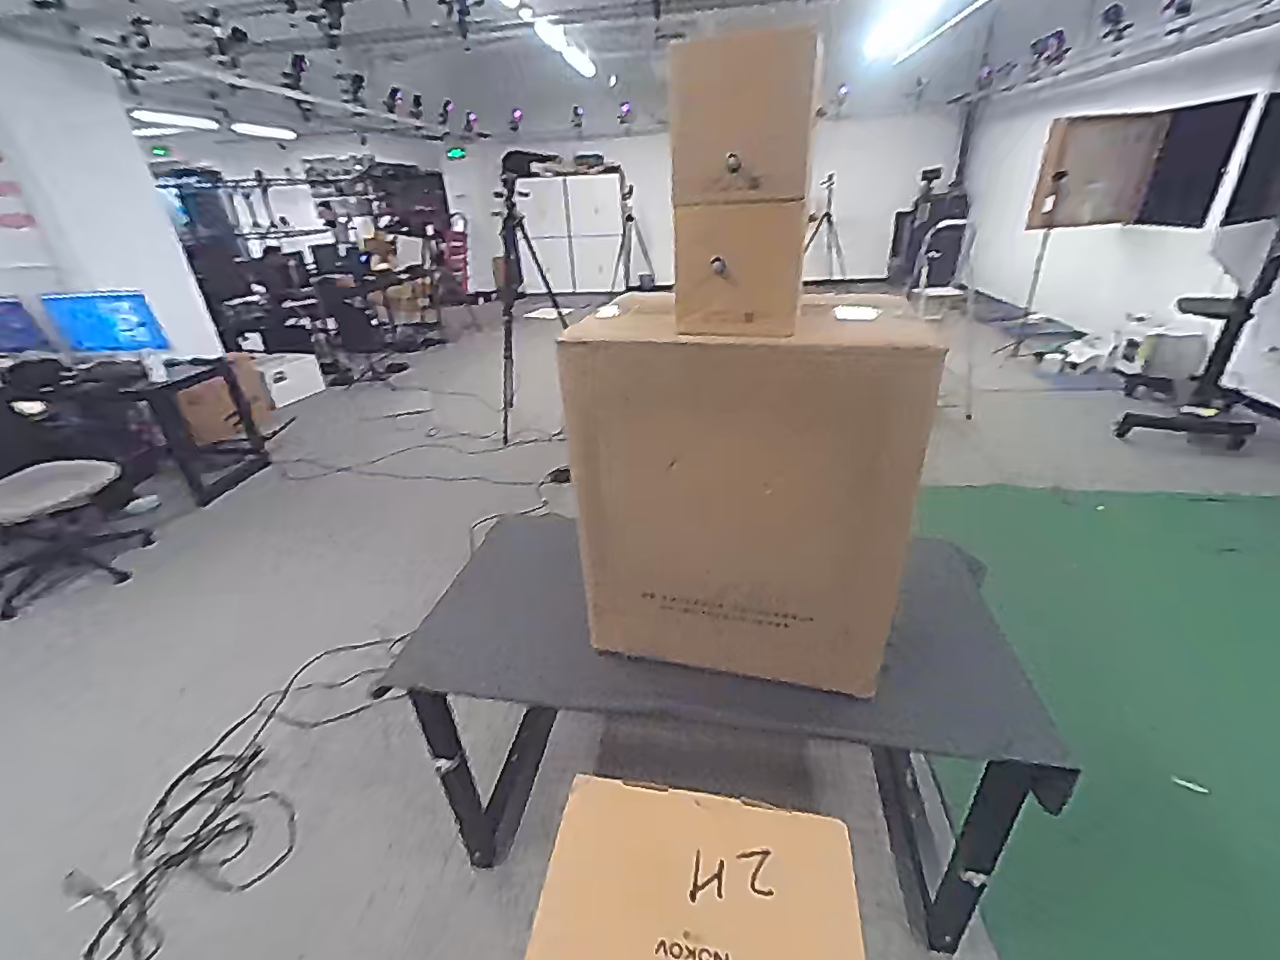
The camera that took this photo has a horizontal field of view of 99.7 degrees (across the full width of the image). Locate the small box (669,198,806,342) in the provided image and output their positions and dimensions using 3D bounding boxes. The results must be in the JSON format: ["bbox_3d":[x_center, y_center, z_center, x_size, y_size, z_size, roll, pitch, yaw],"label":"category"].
[{"bbox_3d":[0.145,-0.302,0.779,0.168,0.176,0.179,6,31,16],"label":"small box"}]
